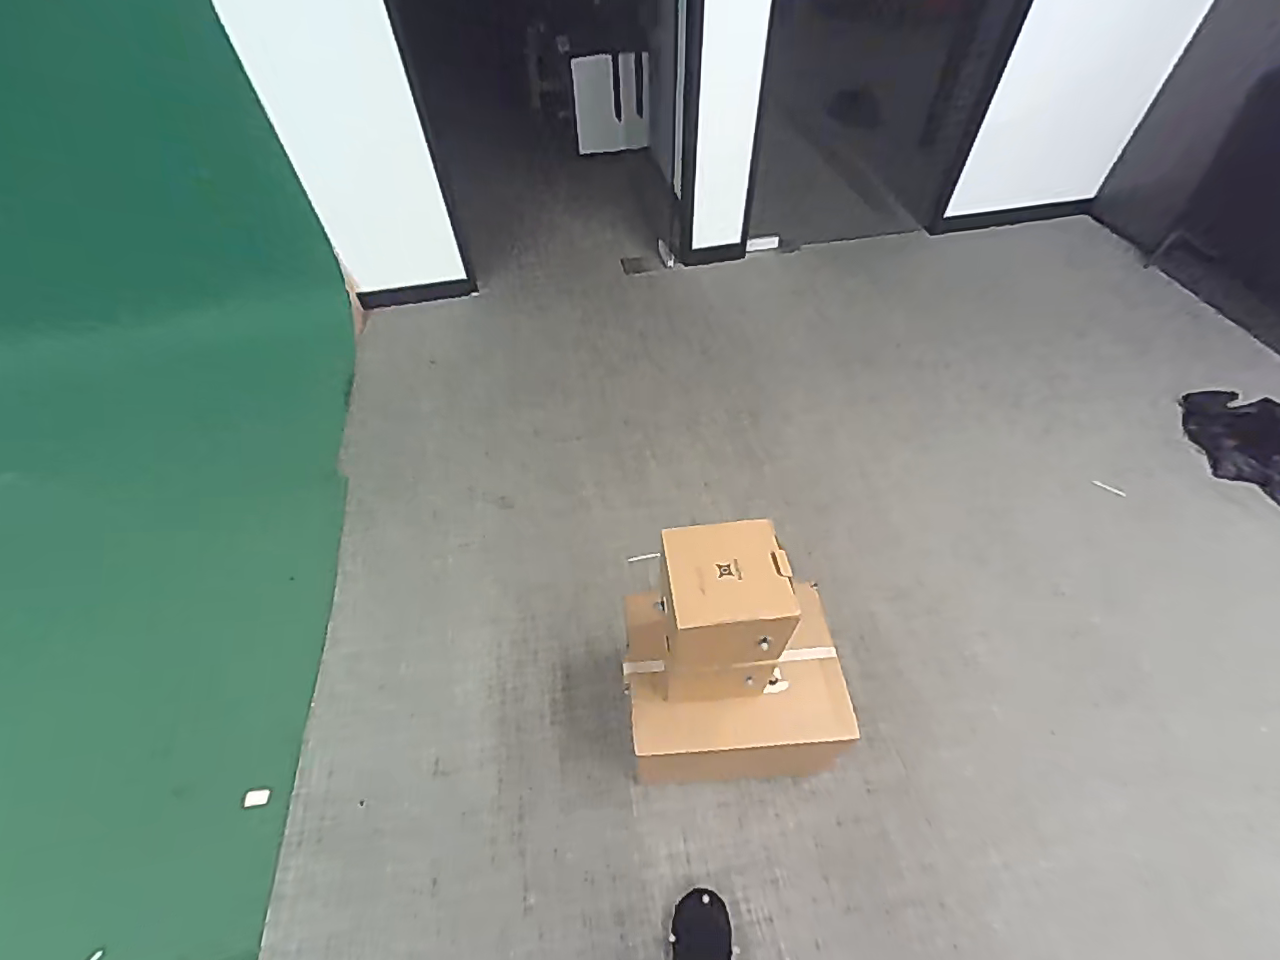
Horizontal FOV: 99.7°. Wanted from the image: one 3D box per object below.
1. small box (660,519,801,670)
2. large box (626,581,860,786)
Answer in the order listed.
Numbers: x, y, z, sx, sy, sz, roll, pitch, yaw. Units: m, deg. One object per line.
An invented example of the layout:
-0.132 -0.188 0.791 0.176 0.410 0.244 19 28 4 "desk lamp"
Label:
0.128 0.182 0.845 0.179 0.176 0.168 -7 51 -3 "small box"
0.183 0.440 1.158 0.408 0.320 0.320 -4 53 -2 "large box"
